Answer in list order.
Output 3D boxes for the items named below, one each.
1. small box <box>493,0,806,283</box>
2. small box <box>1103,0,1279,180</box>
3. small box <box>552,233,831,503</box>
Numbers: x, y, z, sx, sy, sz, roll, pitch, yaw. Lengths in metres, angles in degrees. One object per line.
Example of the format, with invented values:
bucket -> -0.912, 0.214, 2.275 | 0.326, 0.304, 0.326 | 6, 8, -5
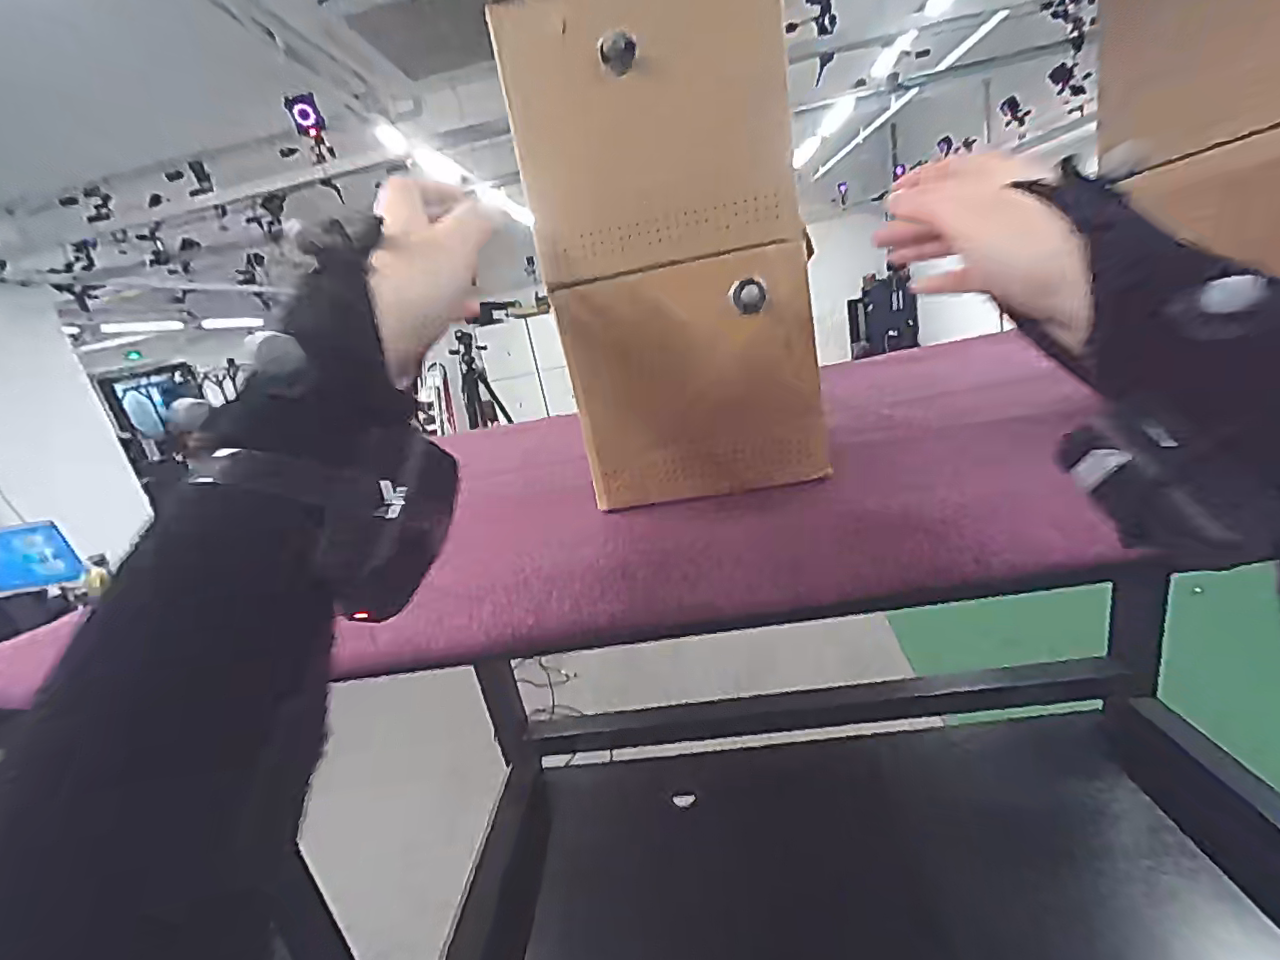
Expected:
small box -> 0.017, -0.243, 0.410 | 0.179, 0.176, 0.168 | -8, 16, 8
small box -> 0.420, -0.302, 0.315 | 0.168, 0.176, 0.179 | -10, 15, 9
small box -> 0.047, -0.087, 0.450 | 0.179, 0.176, 0.168 | -9, 16, 8
